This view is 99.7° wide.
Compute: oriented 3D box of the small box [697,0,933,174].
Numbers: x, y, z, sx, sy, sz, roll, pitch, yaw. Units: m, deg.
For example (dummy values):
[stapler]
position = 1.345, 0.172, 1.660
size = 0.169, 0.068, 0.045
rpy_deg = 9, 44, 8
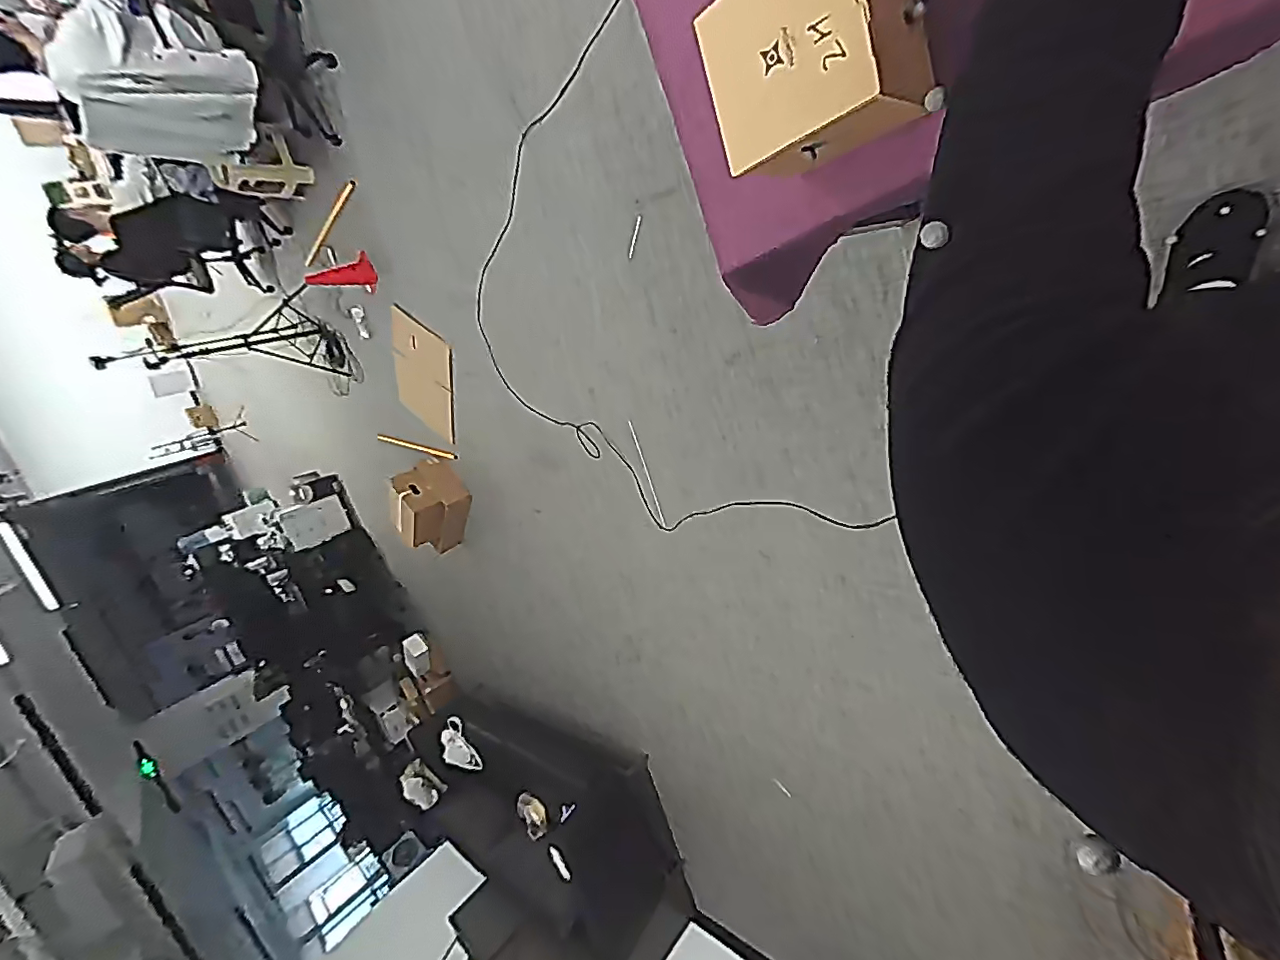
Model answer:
[small box]
position = 0.196, -0.461, 0.603
size = 0.179, 0.176, 0.168
rpy_deg = -3, 109, 47
